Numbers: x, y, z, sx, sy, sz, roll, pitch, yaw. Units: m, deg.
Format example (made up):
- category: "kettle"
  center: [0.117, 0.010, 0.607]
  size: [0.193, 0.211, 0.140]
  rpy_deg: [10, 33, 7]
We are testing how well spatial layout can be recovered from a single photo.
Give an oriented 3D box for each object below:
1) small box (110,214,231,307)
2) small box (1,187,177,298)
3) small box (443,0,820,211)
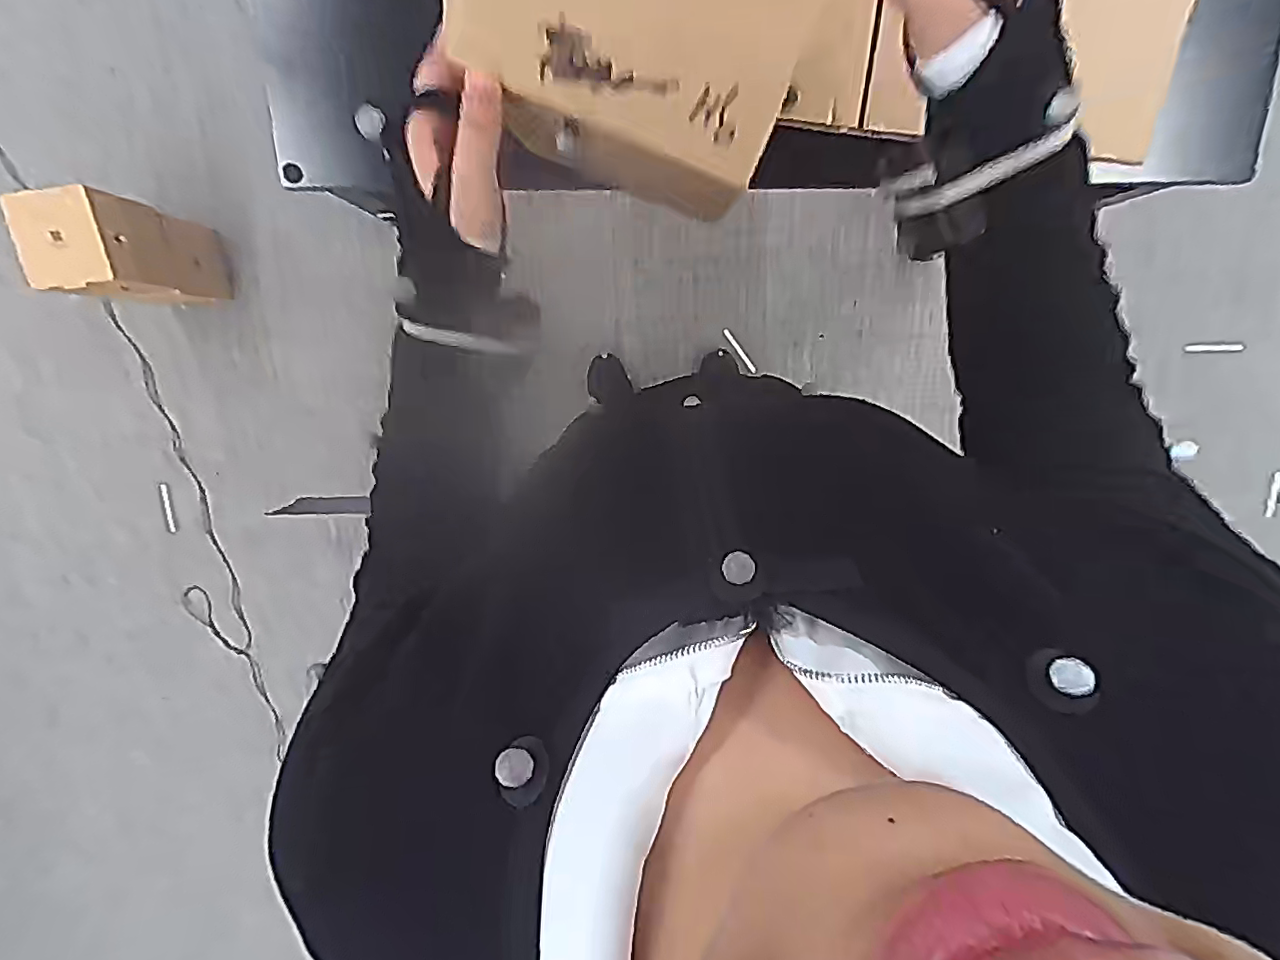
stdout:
- category: "small box"
  center: [-1.120, -0.511, 1.277]
  size: [0.168, 0.176, 0.179]
  rpy_deg: [-5, 104, 0]
- category: "small box"
  center: [-1.119, -0.479, 1.117]
  size: [0.168, 0.176, 0.179]
  rpy_deg: [-8, 102, 0]
- category: "small box"
  center: [0.013, -0.284, 0.315]
  size: [0.168, 0.176, 0.179]
  rpy_deg: [20, 108, -5]
